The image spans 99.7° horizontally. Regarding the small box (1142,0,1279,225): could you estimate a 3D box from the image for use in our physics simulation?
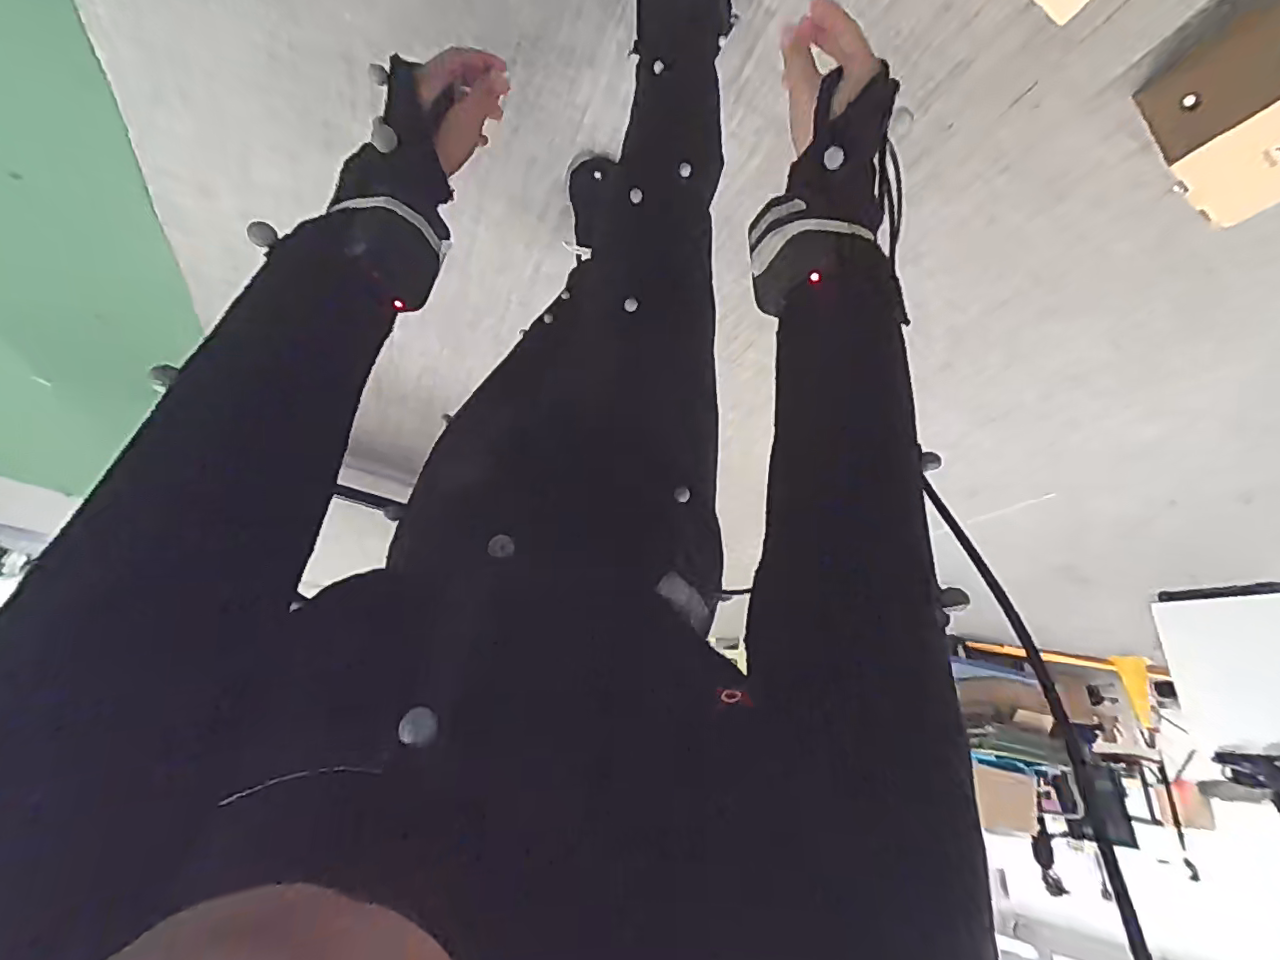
[{"bbox_3d":[0.798,-0.484,0.697,0.168,0.176,0.179,20,150,-25],"label":"small box"}]
